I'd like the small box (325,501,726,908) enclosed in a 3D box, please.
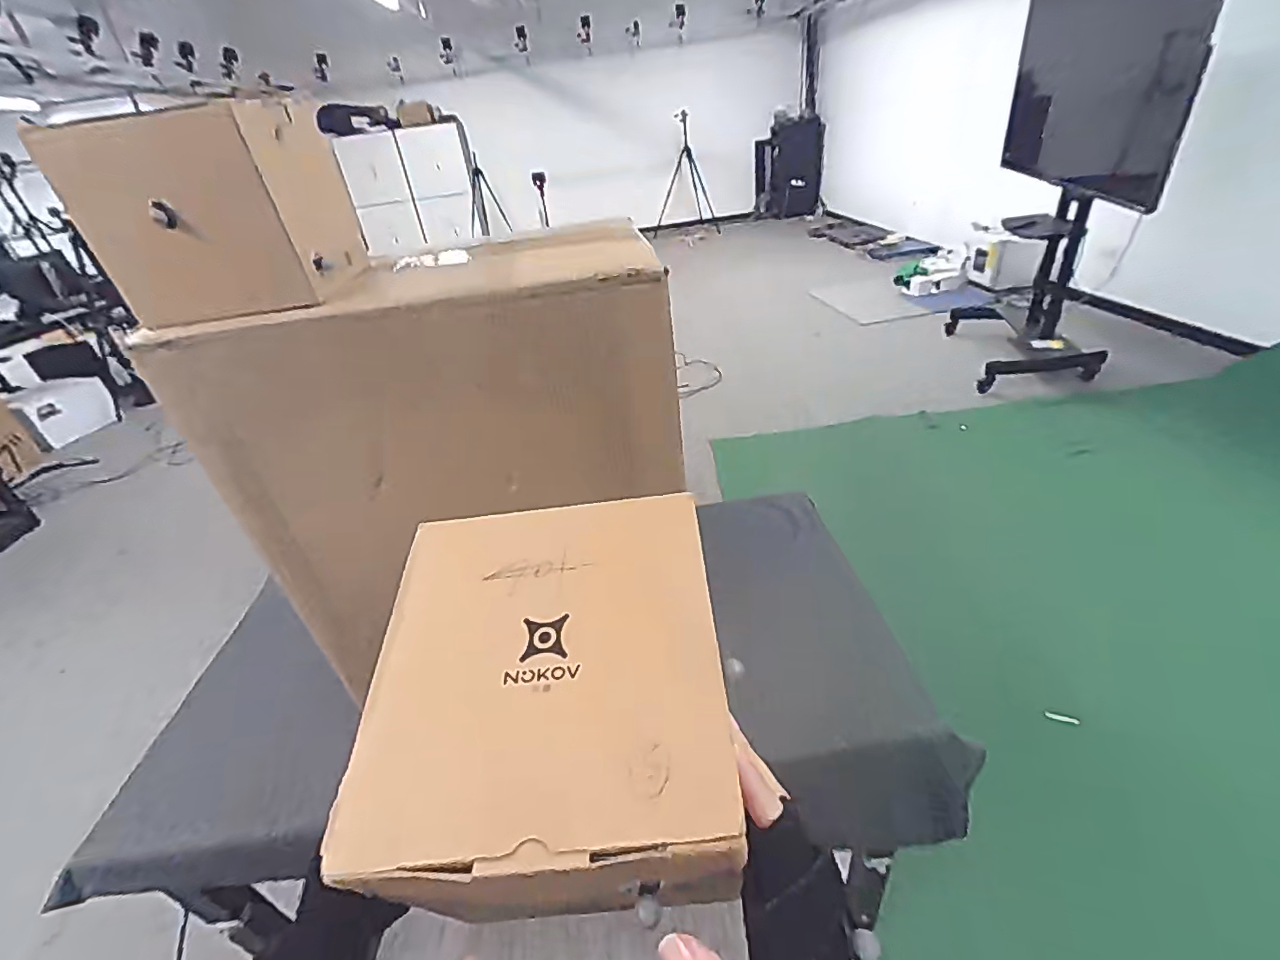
[{"bbox_3d":[-0.041,0.139,0.325,0.168,0.176,0.179,-6,45,2],"label":"small box"}]

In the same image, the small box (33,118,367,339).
[{"bbox_3d":[-0.411,-0.259,0.553,0.179,0.176,0.168,-9,35,-4],"label":"small box"}]
